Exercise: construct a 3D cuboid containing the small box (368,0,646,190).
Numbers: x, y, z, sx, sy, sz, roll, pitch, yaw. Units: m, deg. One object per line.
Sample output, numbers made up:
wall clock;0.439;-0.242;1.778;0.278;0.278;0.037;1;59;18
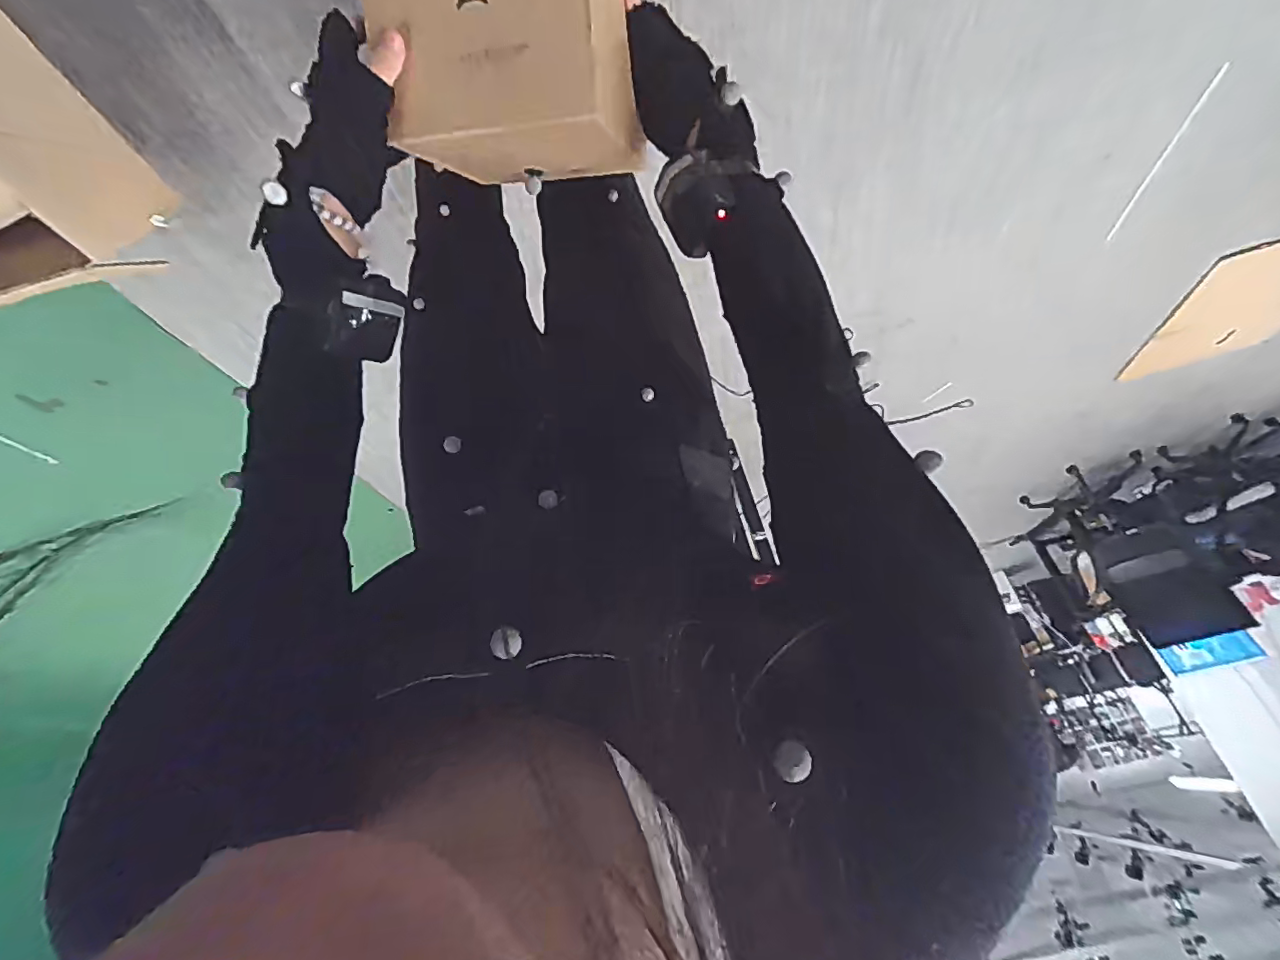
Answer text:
small box;-0.092;-0.354;0.436;0.168;0.179;0.176;1;-163;13
